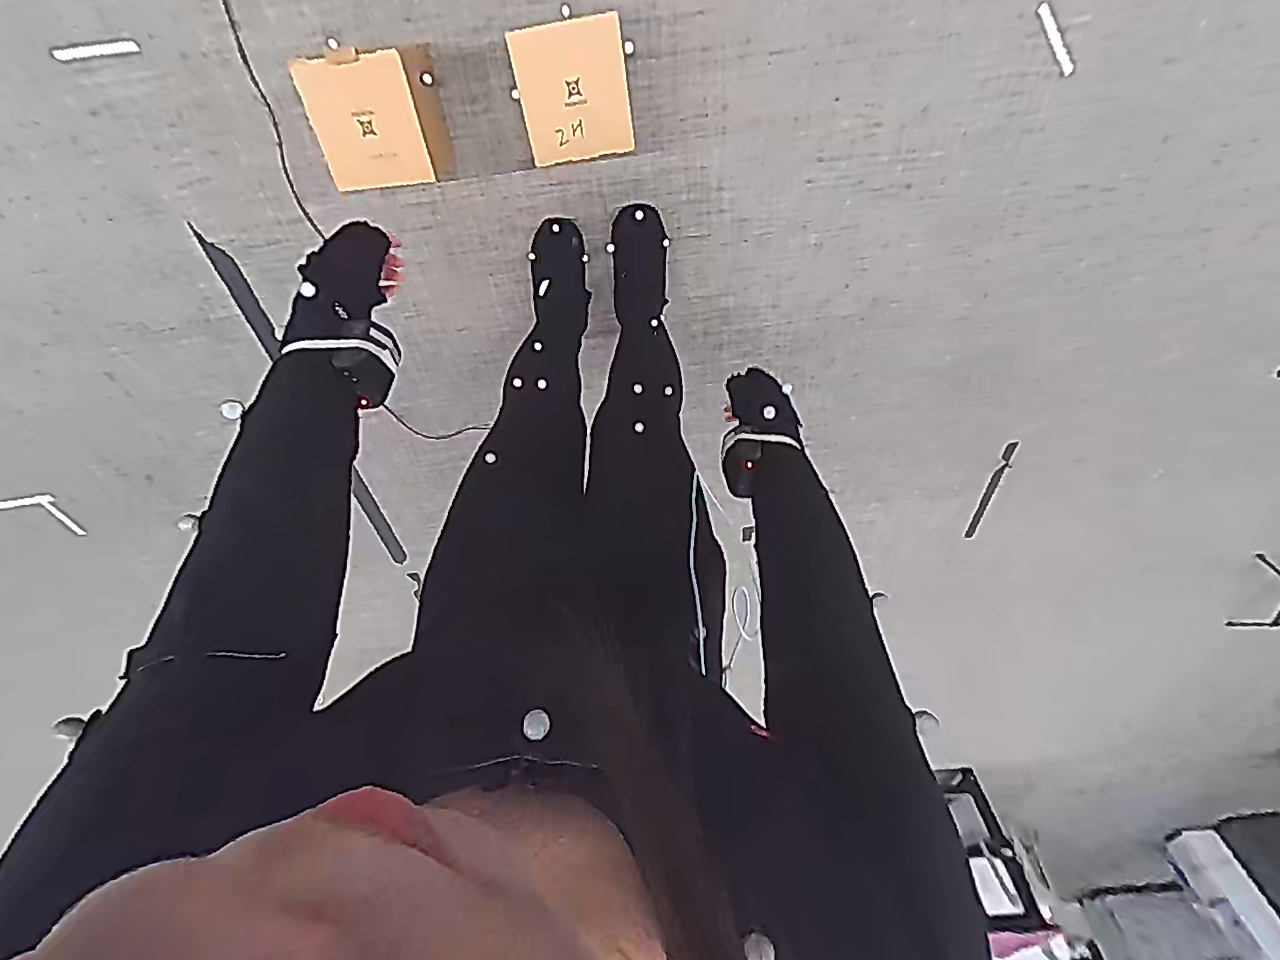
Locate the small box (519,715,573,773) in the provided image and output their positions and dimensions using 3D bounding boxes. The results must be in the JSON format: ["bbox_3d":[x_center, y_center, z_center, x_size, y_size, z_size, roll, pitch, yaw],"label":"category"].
[{"bbox_3d":[-0.356,1.024,2.083,0.179,0.176,0.168,-3,132,-1],"label":"small box"}]

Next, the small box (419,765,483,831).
[{"bbox_3d":[-0.674,1.148,1.957,0.179,0.176,0.168,-1,132,-1],"label":"small box"}]

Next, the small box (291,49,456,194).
[{"bbox_3d":[-0.421,-0.594,0.891,0.168,0.176,0.179,-5,132,1],"label":"small box"}]

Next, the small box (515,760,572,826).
[{"bbox_3d":[-0.344,1.135,1.962,0.168,0.176,0.179,-5,133,1],"label":"small box"}]

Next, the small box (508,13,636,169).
[{"bbox_3d":[-0.103,-0.631,0.877,0.168,0.176,0.179,-8,132,3],"label":"small box"}]
